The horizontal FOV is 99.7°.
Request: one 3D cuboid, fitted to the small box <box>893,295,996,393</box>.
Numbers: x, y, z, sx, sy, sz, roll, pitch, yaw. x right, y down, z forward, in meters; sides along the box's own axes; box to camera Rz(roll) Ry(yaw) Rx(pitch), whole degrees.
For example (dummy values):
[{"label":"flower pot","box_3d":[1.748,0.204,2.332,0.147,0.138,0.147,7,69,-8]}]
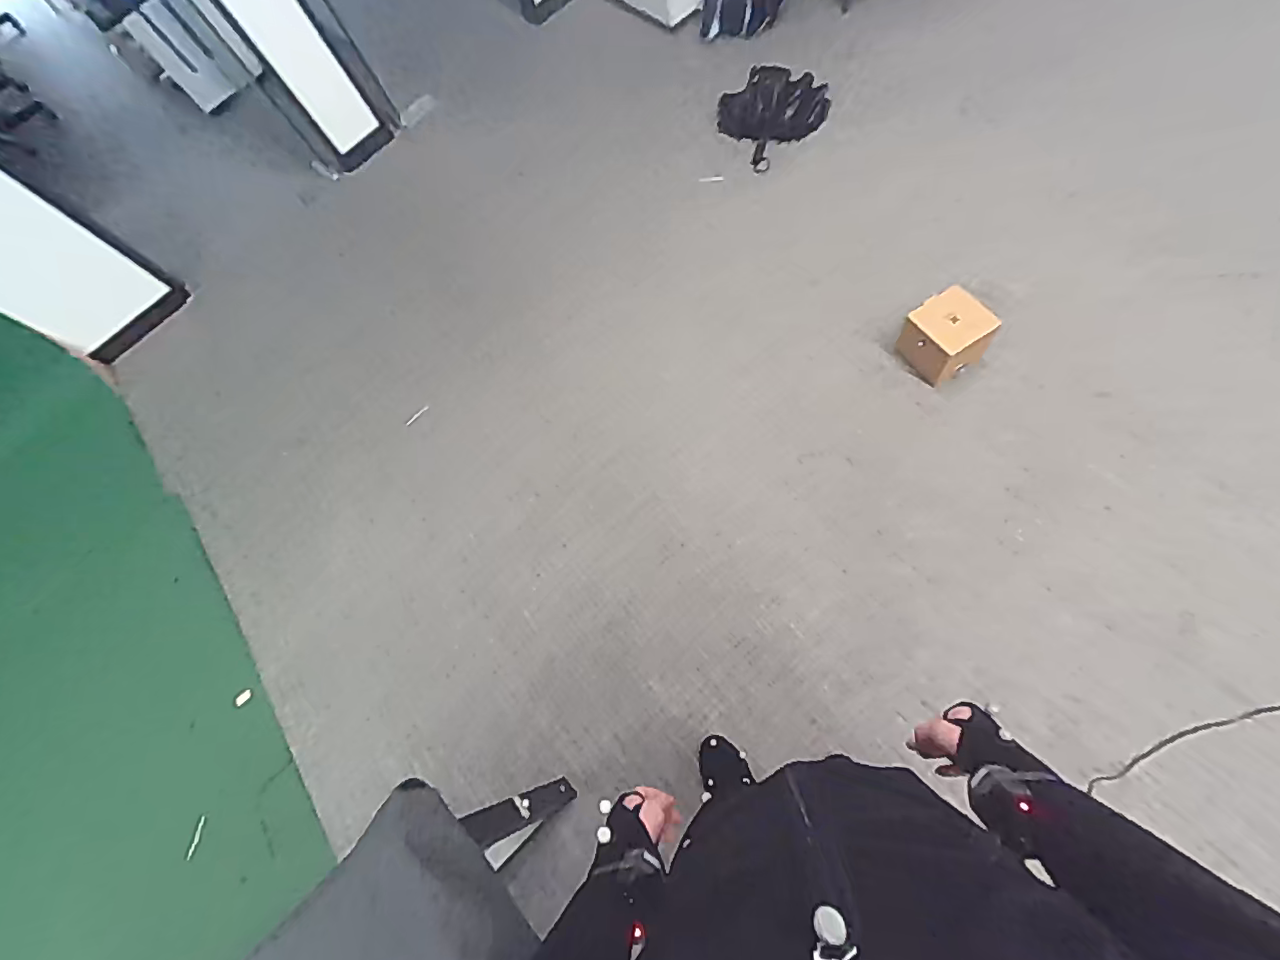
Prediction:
[{"label":"small box","box_3d":[0.864,-0.385,1.556,0.168,0.176,0.179,-32,66,0]}]
